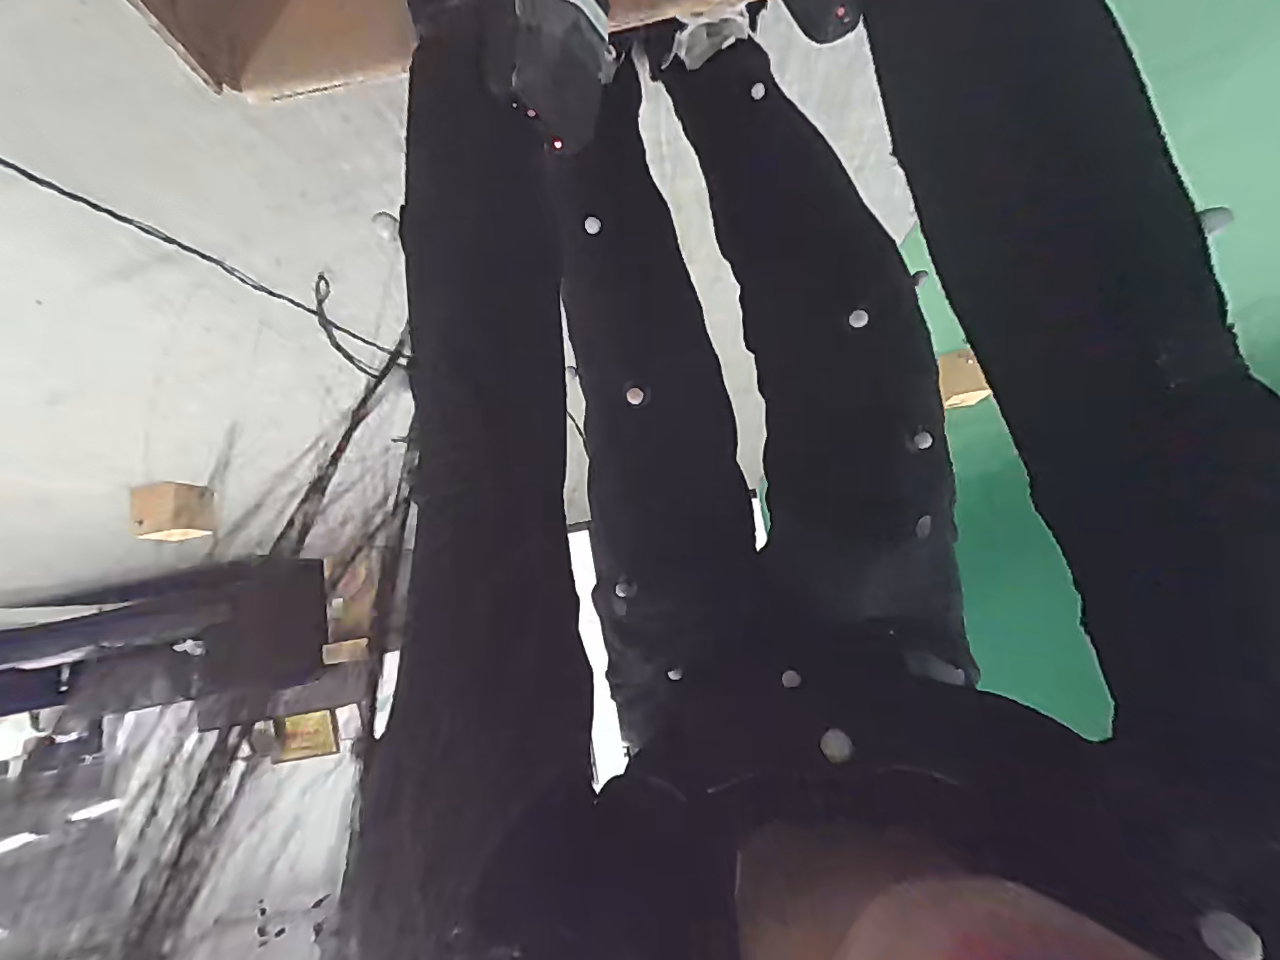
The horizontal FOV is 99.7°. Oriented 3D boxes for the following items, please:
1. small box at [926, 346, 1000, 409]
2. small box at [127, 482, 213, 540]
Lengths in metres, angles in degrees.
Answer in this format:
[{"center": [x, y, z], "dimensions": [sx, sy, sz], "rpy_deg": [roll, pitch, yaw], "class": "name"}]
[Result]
[{"center": [1.191, -0.381, 2.011], "dimensions": [0.168, 0.176, 0.179], "rpy_deg": [-11, 169, 2], "class": "small box"}, {"center": [-1.675, 0.112, 1.935], "dimensions": [0.179, 0.176, 0.168], "rpy_deg": [-11, 170, 5], "class": "small box"}]
